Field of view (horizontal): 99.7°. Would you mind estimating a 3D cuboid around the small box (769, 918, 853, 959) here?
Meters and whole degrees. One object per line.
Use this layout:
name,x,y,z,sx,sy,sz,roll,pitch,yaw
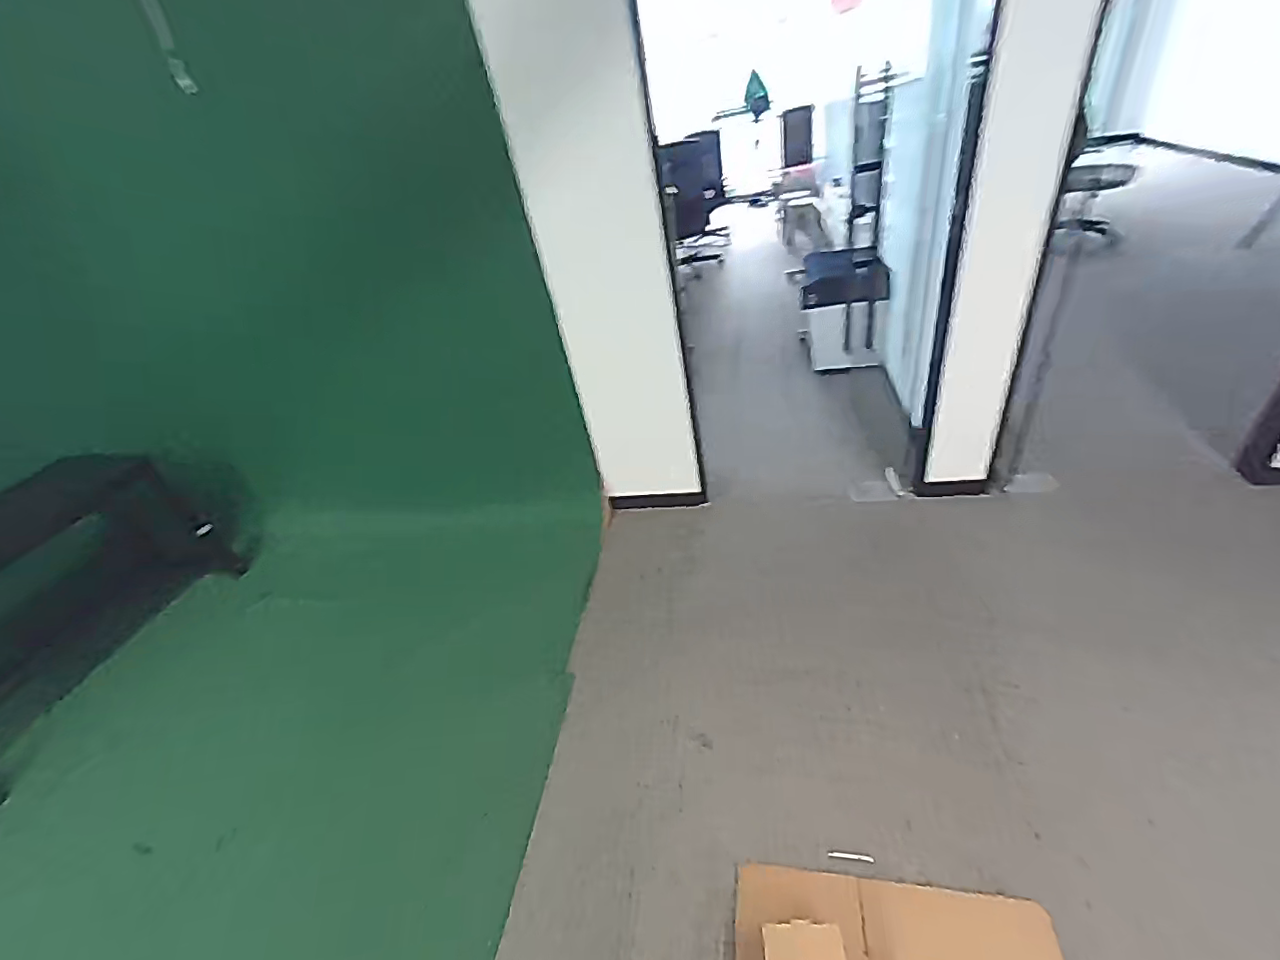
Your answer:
small box,0.364,1.058,1.135,0.168,0.176,0.179,-6,36,9
